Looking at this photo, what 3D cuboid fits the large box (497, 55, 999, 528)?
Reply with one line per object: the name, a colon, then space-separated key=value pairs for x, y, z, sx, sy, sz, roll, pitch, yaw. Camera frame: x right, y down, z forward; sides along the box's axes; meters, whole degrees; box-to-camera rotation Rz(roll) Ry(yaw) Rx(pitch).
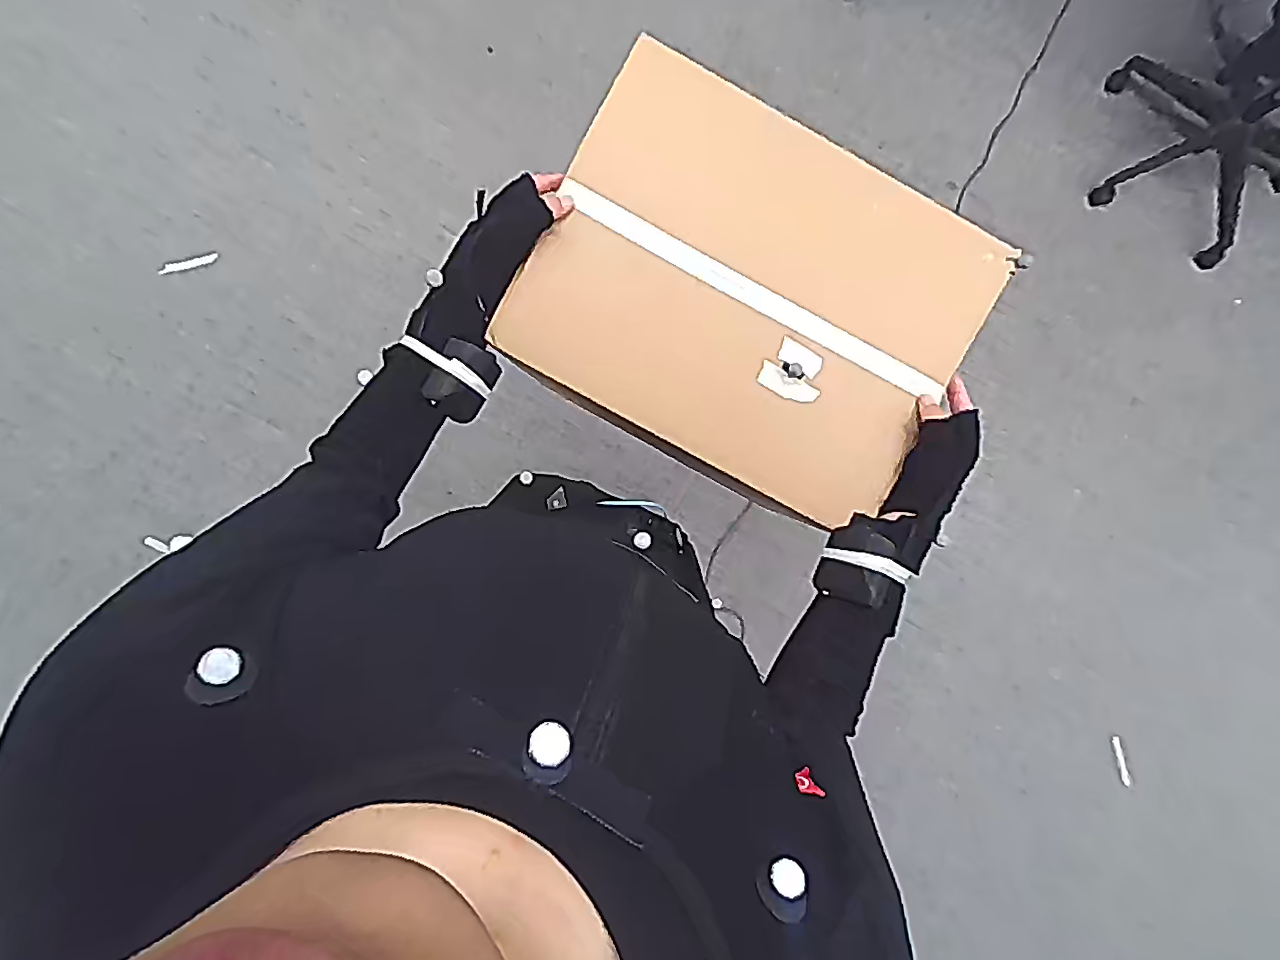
large box: x=0.099 y=-0.182 z=0.666 sx=0.408 sy=0.320 sz=0.320 roll=28 pitch=93 yaw=-4
